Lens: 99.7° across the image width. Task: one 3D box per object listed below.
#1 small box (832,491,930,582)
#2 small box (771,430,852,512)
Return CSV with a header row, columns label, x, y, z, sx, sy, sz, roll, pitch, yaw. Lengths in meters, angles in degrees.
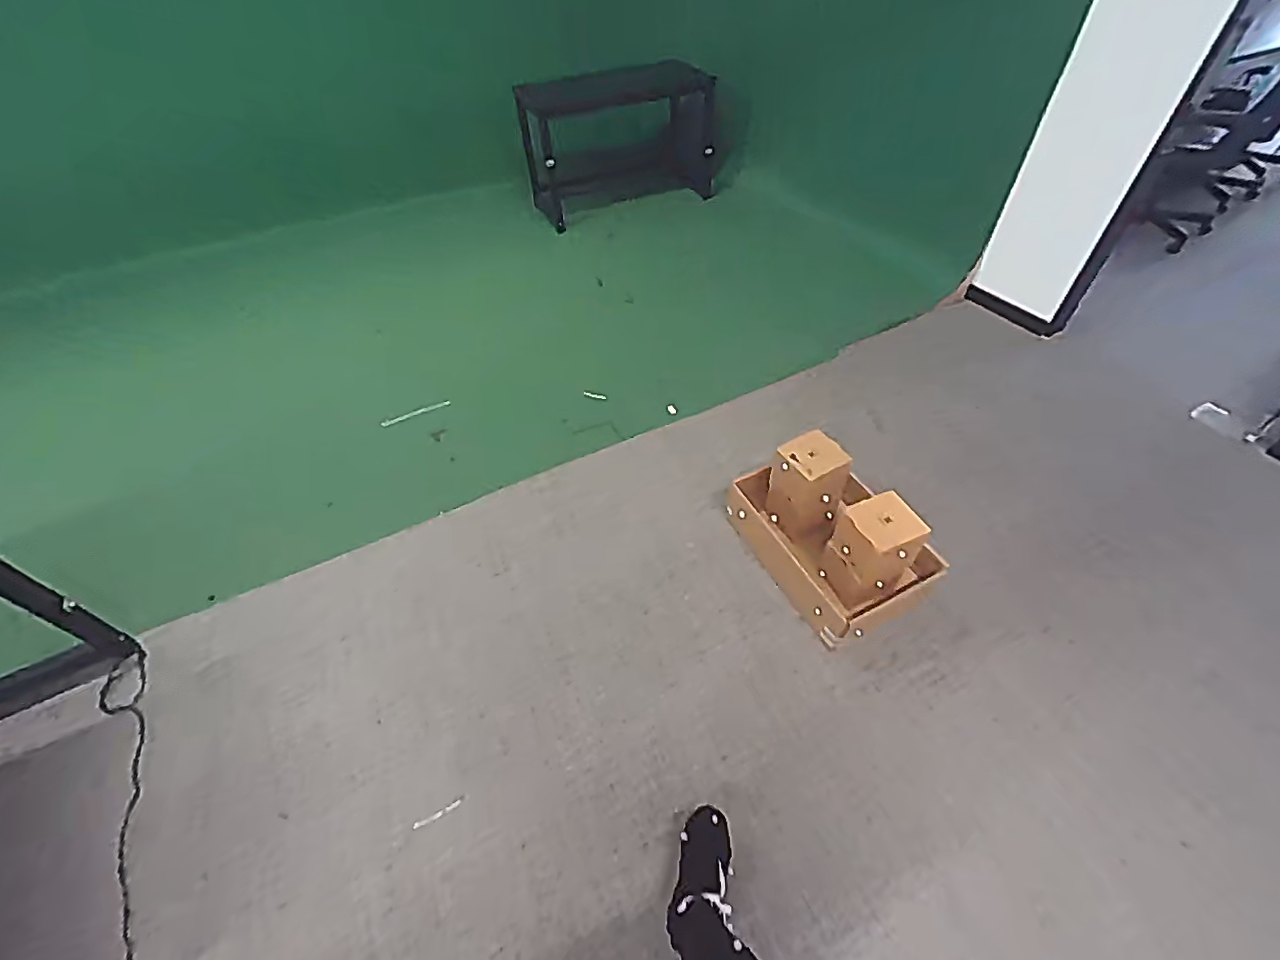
label,x,y,z,sx,sy,sz,roll,pitch,yaw
small box,0.688,0.167,1.566,0.179,0.176,0.168,-19,51,-12
small box,0.544,-0.027,1.743,0.179,0.176,0.168,-23,50,-18
